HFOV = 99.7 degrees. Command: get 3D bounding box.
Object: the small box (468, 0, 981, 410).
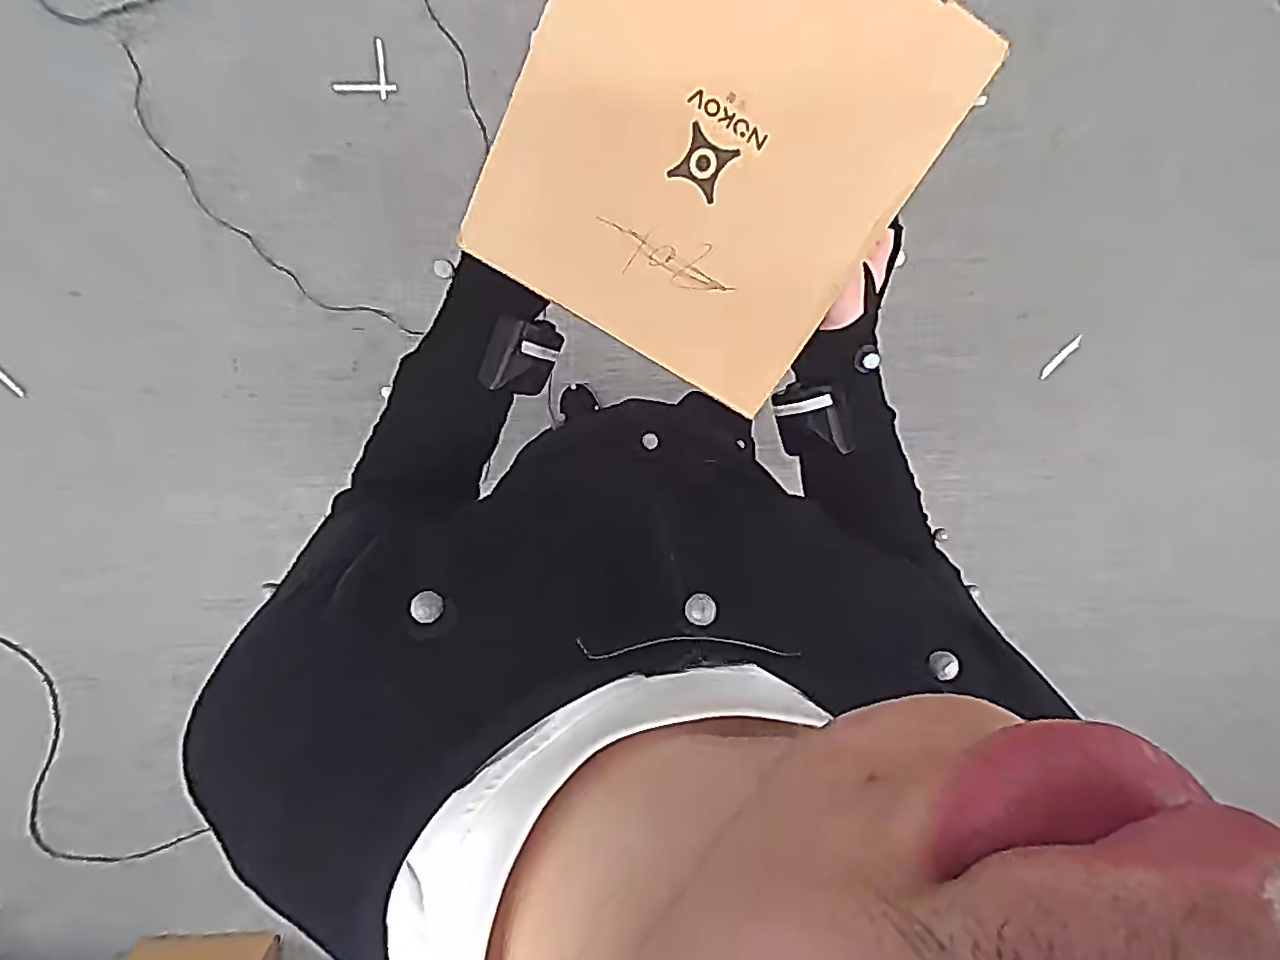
[{"bbox_3d":[0.033,-0.173,0.310,0.168,0.176,0.179,29,113,-7],"label":"small box"}]
